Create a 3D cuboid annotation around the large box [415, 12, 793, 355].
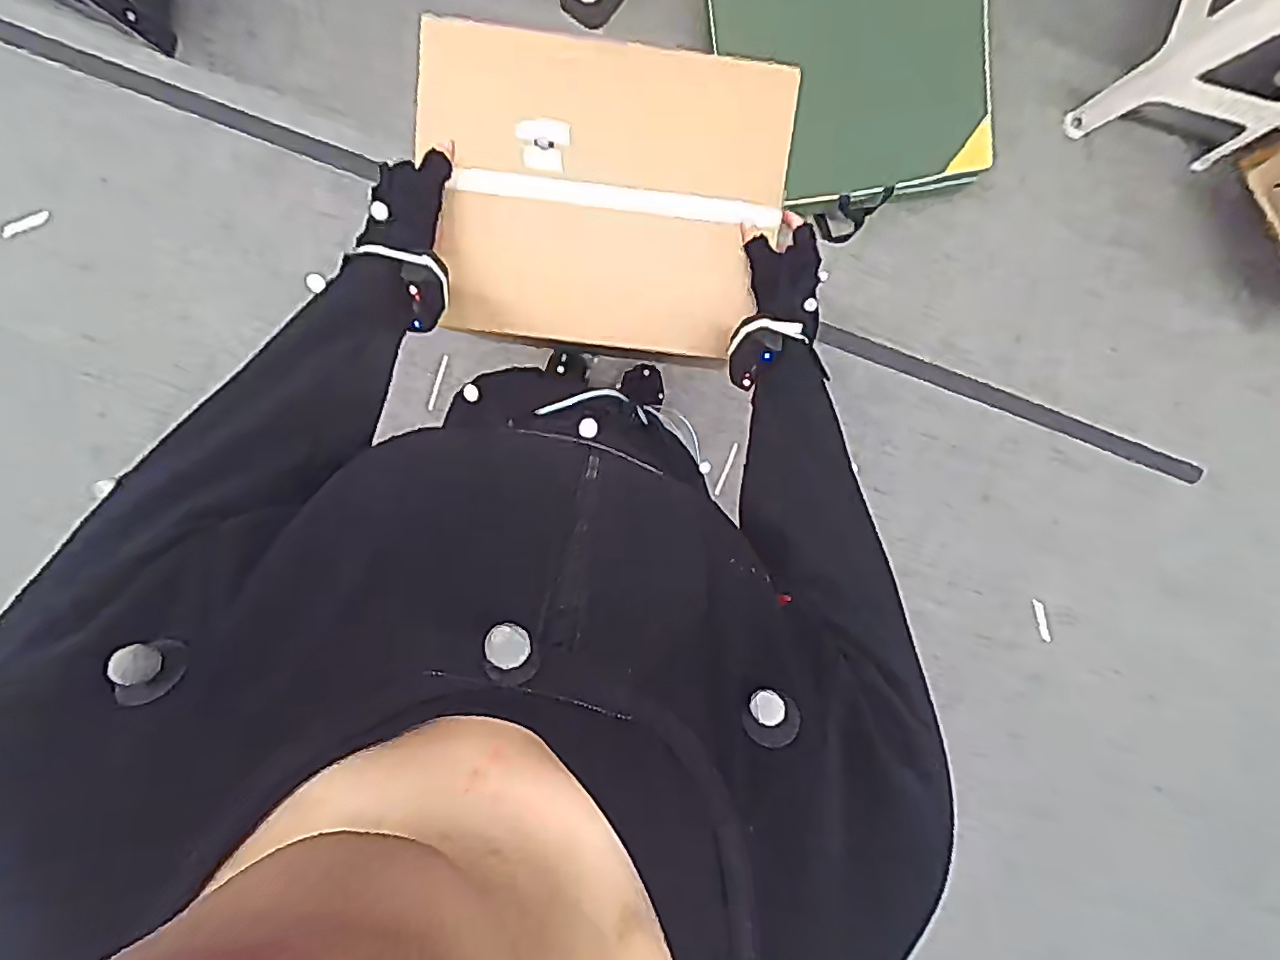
[{"bbox_3d":[-0.046,-0.352,0.748,0.408,0.320,0.320,7,99,-2],"label":"large box"}]
